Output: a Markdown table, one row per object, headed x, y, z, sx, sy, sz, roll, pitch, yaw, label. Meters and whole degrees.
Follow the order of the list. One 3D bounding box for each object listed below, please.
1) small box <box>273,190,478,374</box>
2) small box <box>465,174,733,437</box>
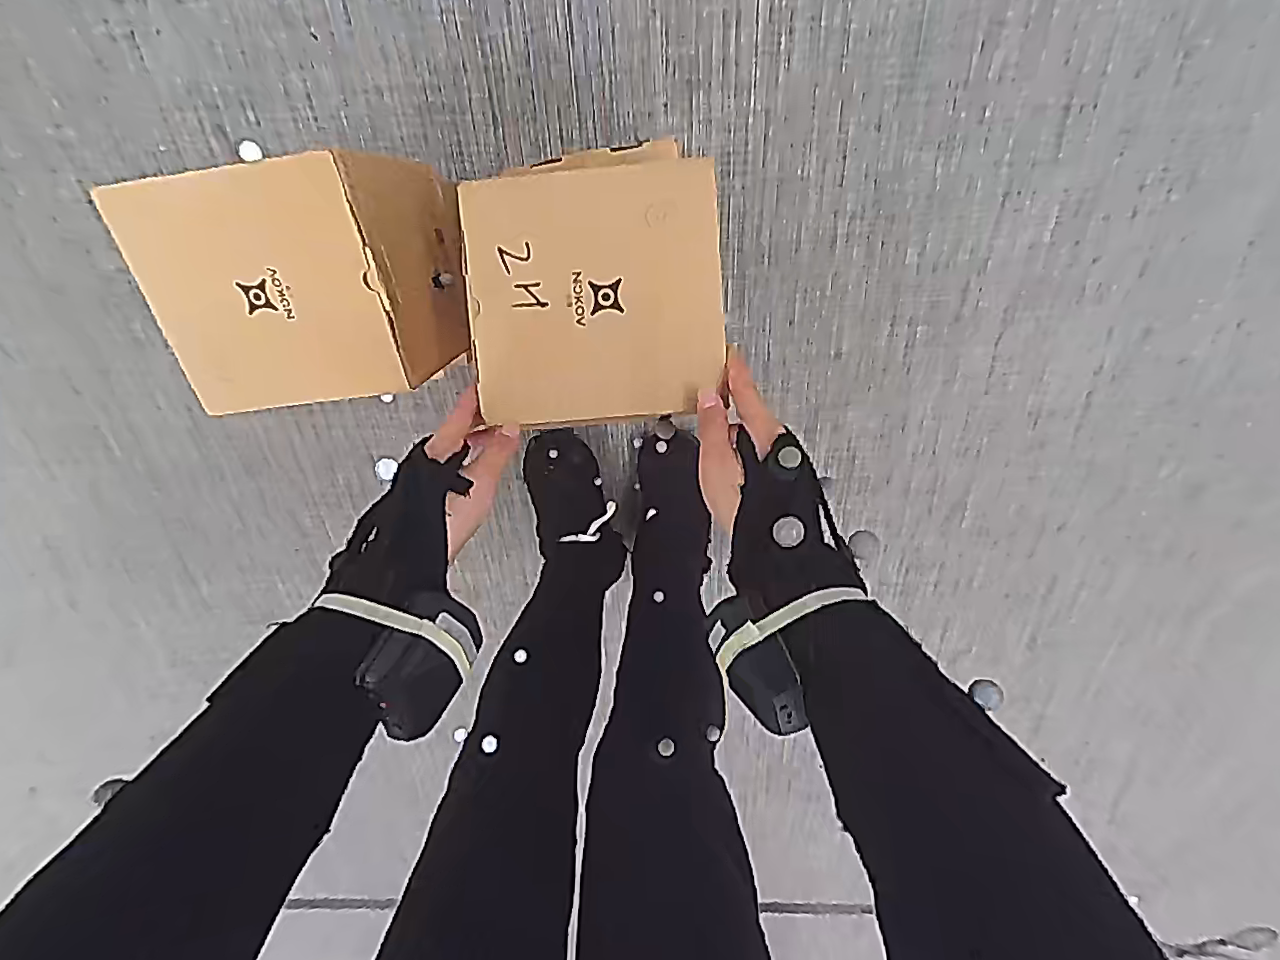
| x | y | z | sx | sy | sz | roll | pitch | yaw | label |
| --- | --- | --- | --- | --- | --- | --- | --- | --- | --- |
| -0.260 | -0.229 | 0.614 | 0.168 | 0.176 | 0.179 | 0 | 116 | 2 | small box |
| -0.025 | -0.123 | 0.447 | 0.179 | 0.176 | 0.168 | -4 | 93 | 3 | small box |
